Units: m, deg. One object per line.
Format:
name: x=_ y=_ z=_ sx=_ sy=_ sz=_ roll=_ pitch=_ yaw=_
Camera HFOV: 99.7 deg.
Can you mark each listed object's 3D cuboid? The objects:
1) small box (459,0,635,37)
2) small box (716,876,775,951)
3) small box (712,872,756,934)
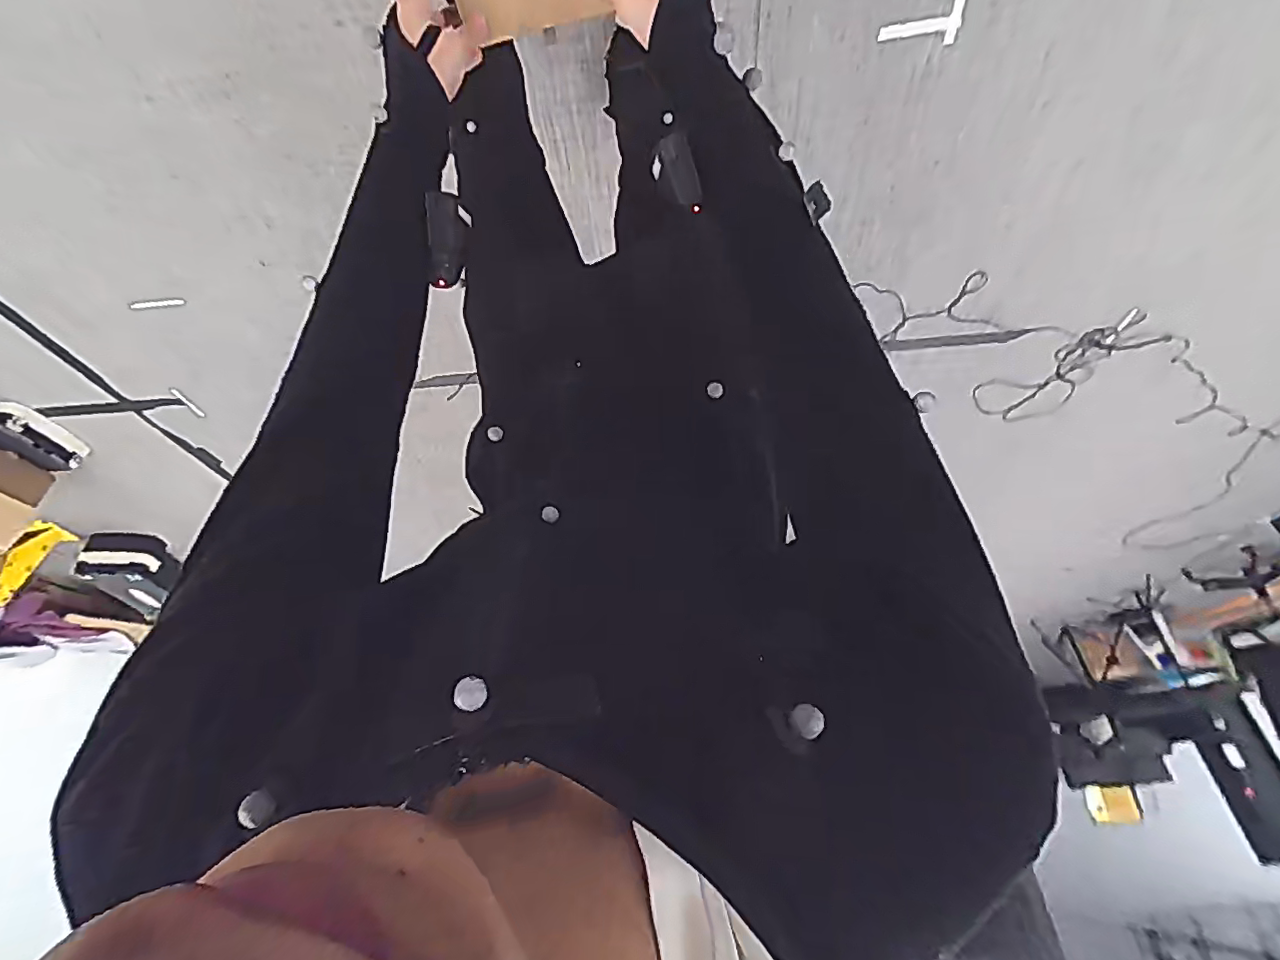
small box: x=-0.093 y=-0.522 z=0.477 sx=0.168 sy=0.176 sz=0.179 roll=-11 pitch=133 yaw=4
small box: x=0.348 y=1.453 z=1.820 sx=0.168 sy=0.176 sz=0.179 roll=-6 pitch=150 yaw=3
small box: x=0.367 y=1.601 z=2.054 sx=0.168 sy=0.176 sz=0.179 roll=-5 pitch=148 yaw=2
